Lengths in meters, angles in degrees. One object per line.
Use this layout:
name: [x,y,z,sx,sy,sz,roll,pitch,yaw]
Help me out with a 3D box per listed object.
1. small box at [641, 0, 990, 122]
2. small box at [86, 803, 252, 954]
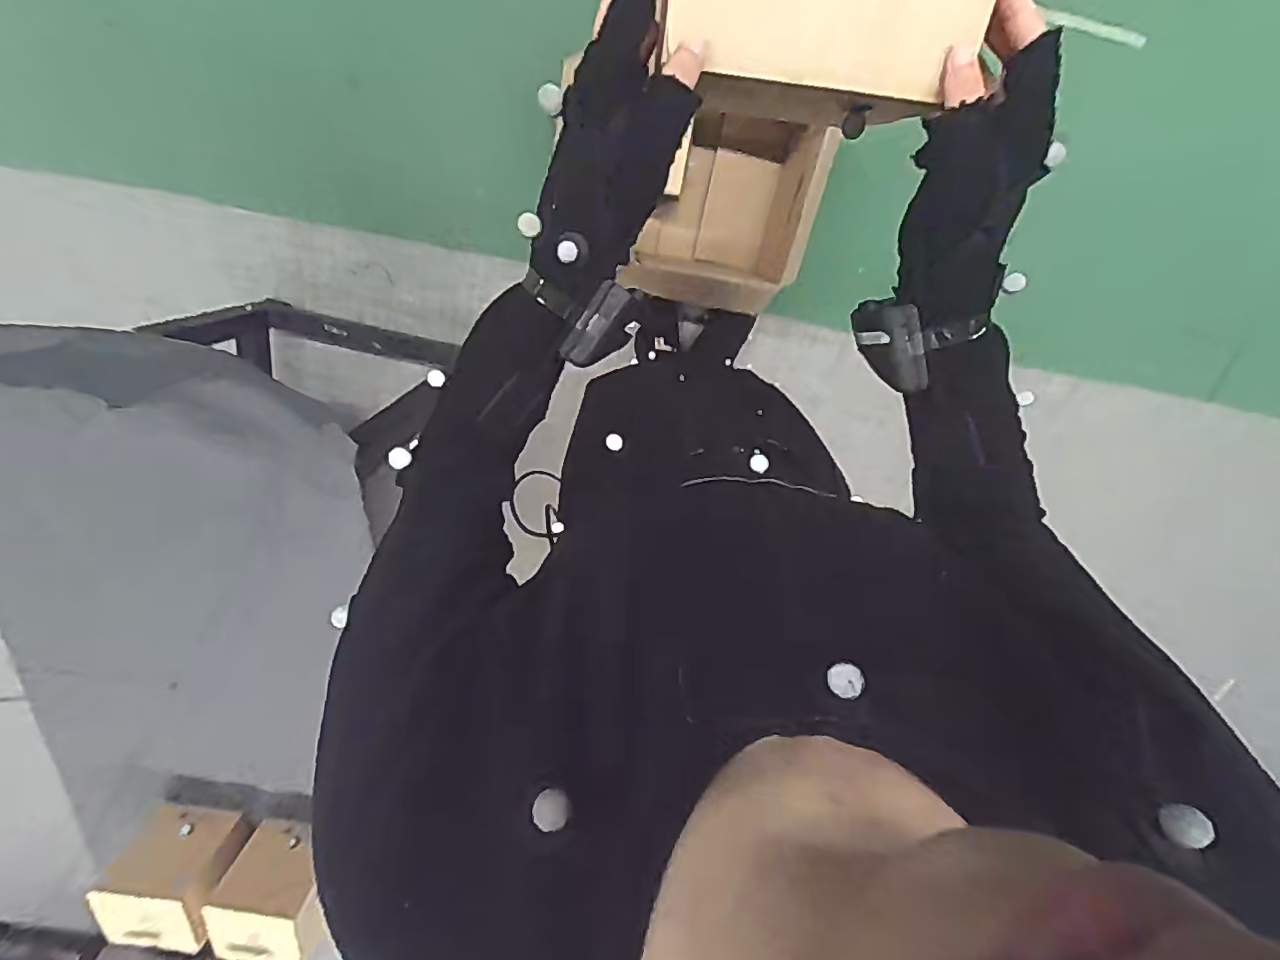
small box: [0.097,-0.325,0.325,0.179,0.176,0.168,5,119,-4]
small box: [-0.903,0.777,1.060,0.168,0.176,0.179,9,115,-2]
